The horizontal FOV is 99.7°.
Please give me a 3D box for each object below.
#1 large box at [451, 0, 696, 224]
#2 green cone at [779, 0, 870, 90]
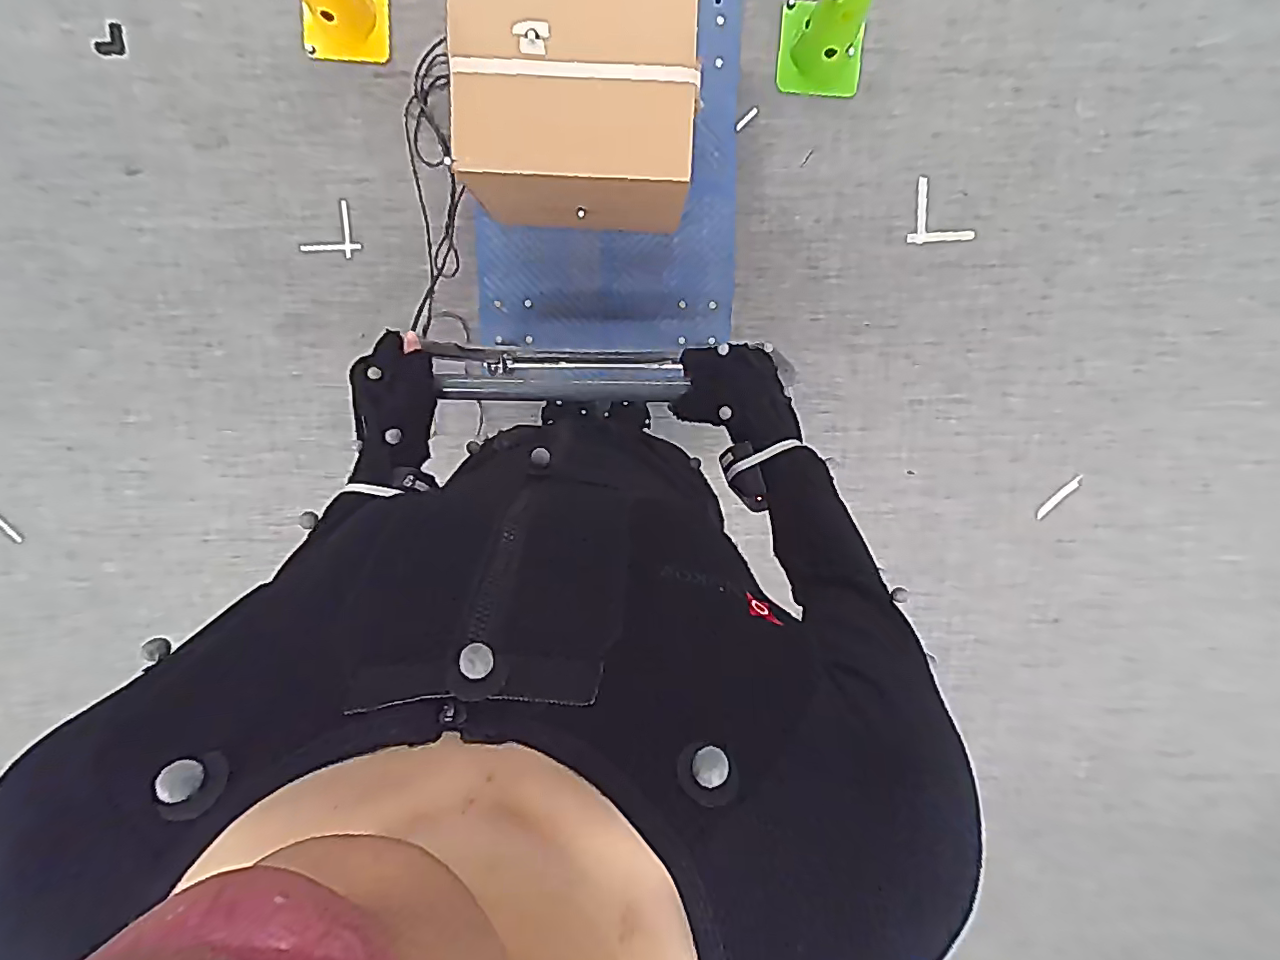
[{"bbox_3d":[-0.108,-0.695,1.038,0.408,0.320,0.320,2,100,0],"label":"large box"},{"bbox_3d":[0.444,-1.027,1.132,0.202,0.368,0.200,3,100,-2],"label":"green cone"}]
